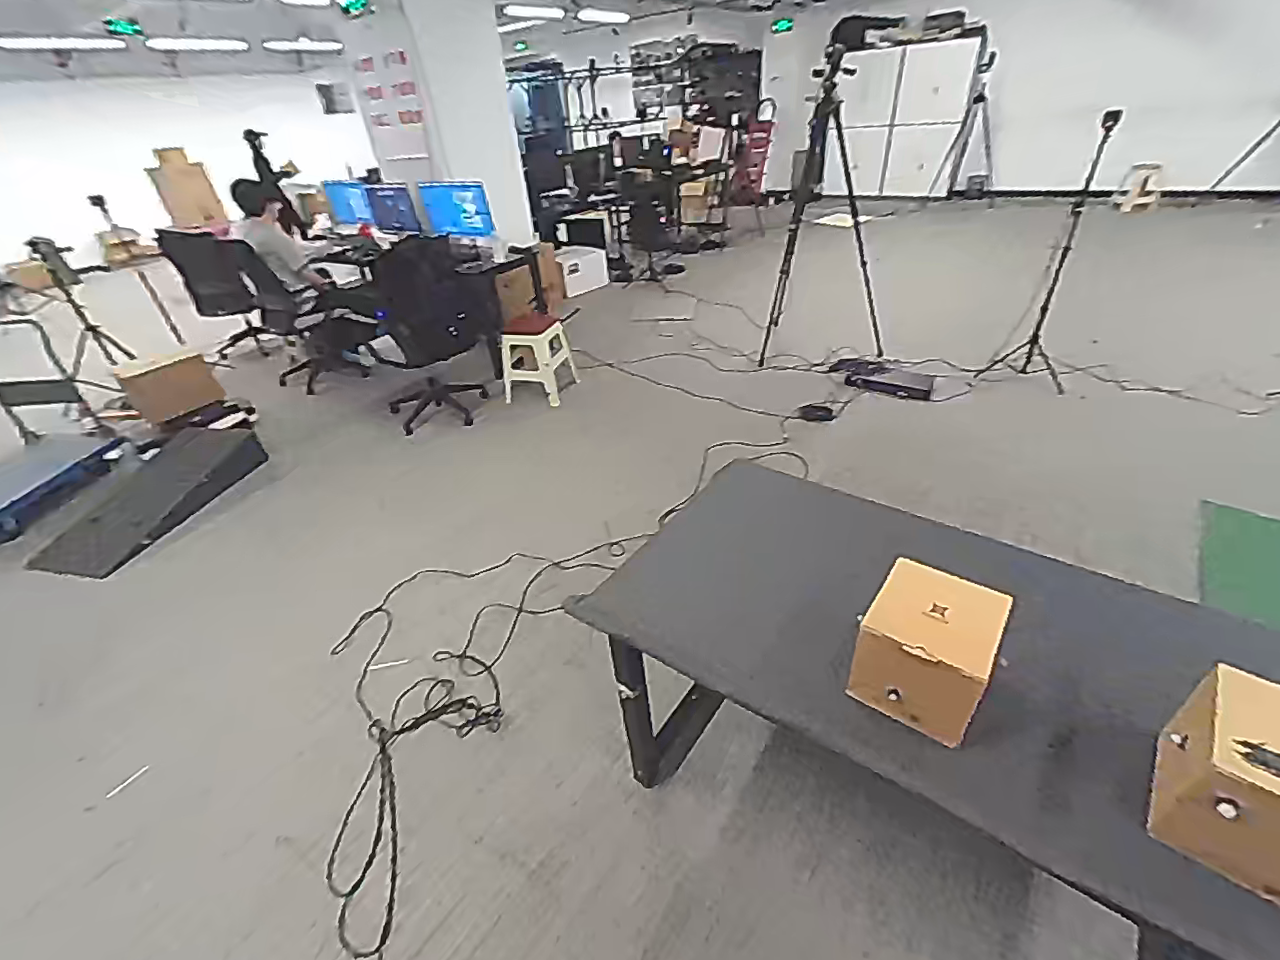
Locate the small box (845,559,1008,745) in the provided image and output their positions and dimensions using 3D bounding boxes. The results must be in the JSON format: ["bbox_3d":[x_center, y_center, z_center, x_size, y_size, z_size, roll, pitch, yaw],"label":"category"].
[{"bbox_3d":[0.437,0.262,0.841,0.168,0.176,0.179,22,43,32],"label":"small box"}]
